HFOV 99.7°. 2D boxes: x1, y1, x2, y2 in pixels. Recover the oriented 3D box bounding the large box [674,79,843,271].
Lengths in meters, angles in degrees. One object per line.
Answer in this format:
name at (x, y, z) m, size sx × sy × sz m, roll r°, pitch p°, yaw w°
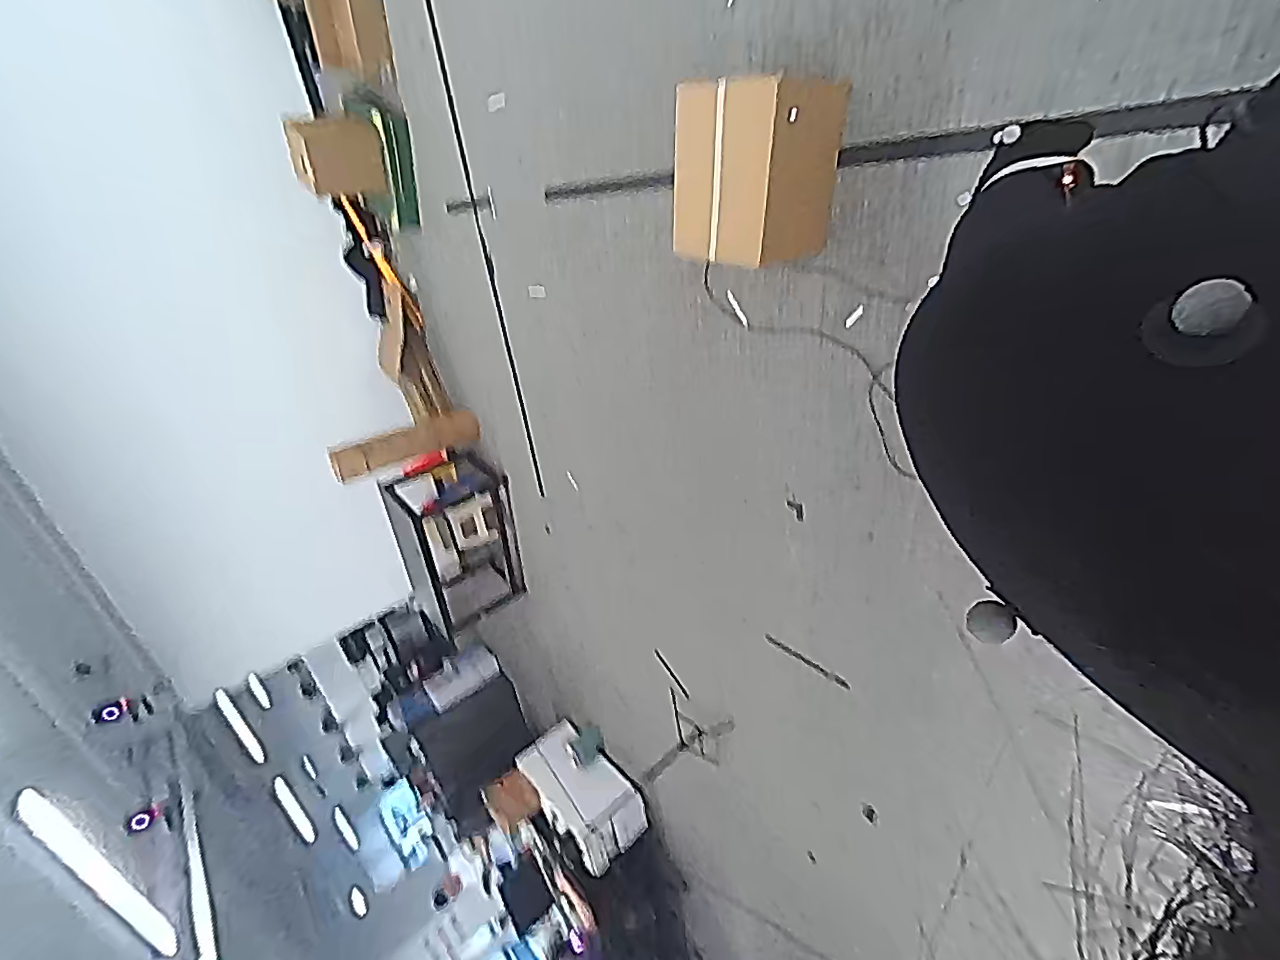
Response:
large box at (0.307, -0.817, 1.457) m, size 0.320 × 0.320 × 0.408 m, roll 30°, pitch 134°, yaw 38°
